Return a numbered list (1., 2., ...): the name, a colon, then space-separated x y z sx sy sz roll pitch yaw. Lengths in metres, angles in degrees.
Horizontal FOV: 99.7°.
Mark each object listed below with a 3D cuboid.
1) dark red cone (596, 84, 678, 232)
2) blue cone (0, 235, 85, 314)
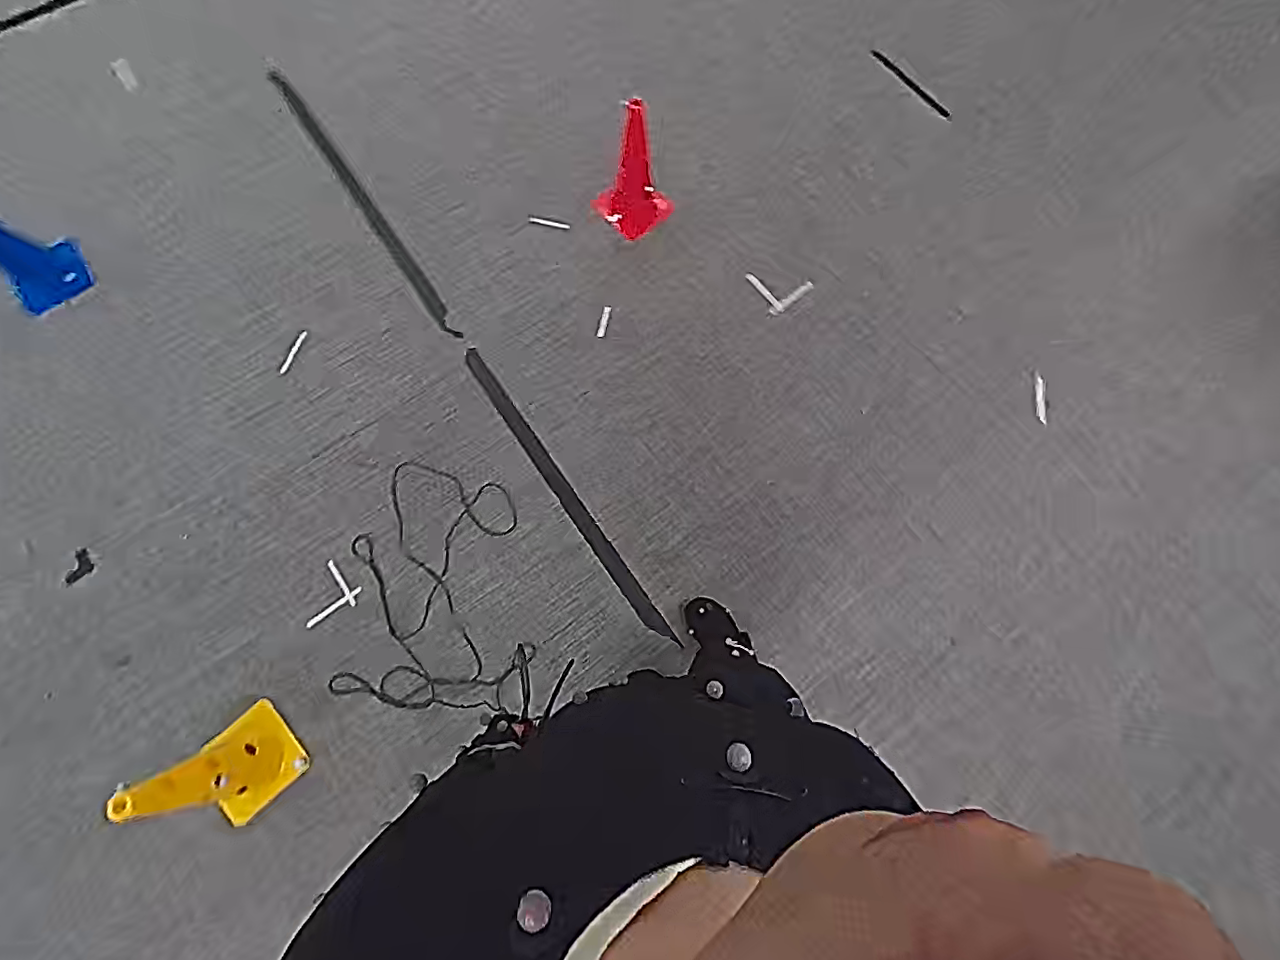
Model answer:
1. dark red cone: -0.006 -0.925 1.534 0.201 0.394 0.202 -42 79 -11
2. blue cone: -1.740 -0.636 1.428 0.192 0.380 0.193 -34 77 -9
